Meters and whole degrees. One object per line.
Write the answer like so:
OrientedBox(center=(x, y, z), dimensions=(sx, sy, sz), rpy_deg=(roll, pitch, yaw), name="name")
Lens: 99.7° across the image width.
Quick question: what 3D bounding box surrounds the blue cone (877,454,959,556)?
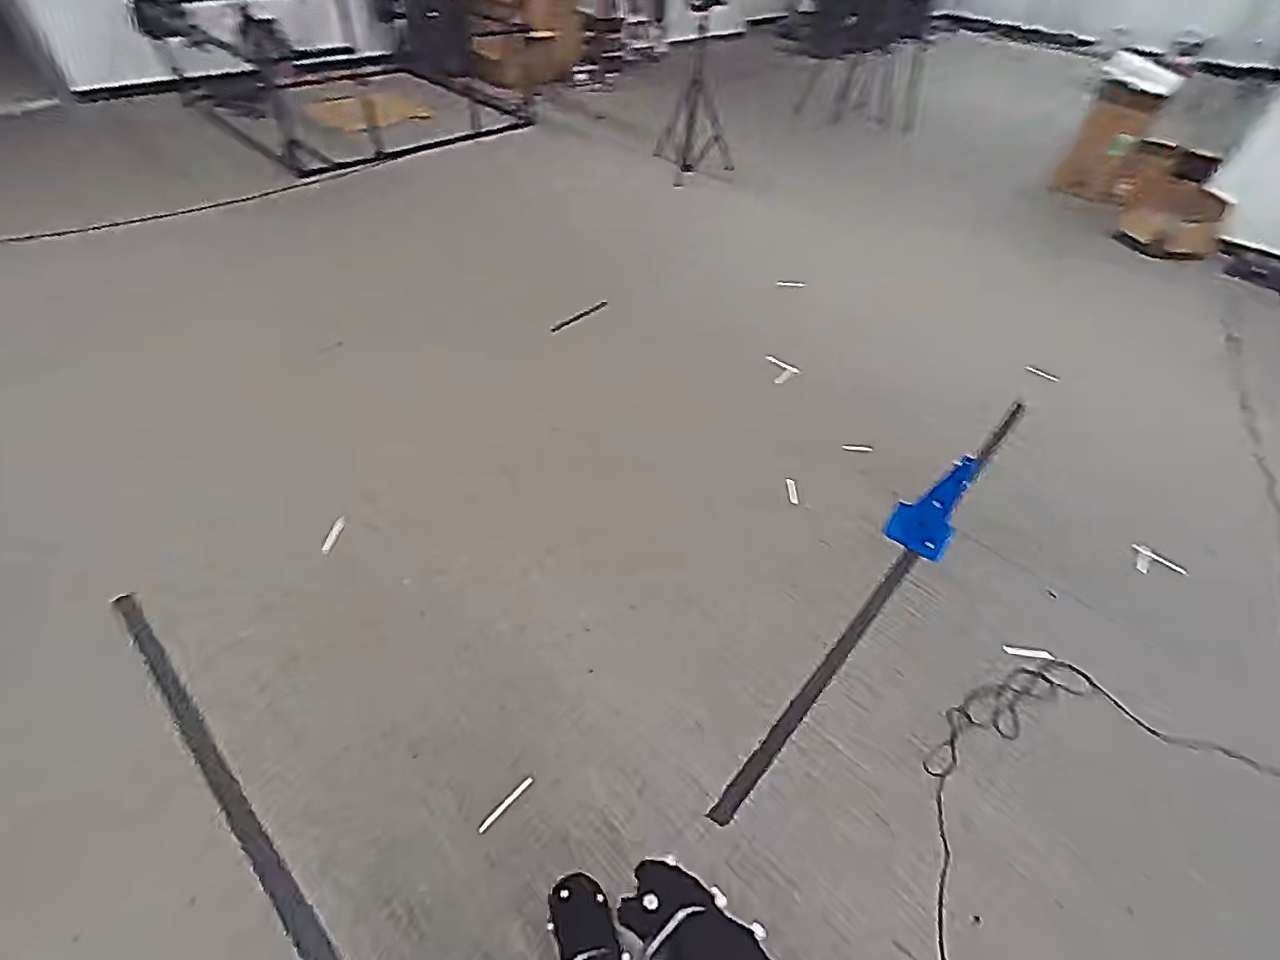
OrientedBox(center=(0.971, 0.063, 1.809), dimensions=(0.192, 0.380, 0.193), rpy_deg=(33, 52, 24), name="blue cone")
